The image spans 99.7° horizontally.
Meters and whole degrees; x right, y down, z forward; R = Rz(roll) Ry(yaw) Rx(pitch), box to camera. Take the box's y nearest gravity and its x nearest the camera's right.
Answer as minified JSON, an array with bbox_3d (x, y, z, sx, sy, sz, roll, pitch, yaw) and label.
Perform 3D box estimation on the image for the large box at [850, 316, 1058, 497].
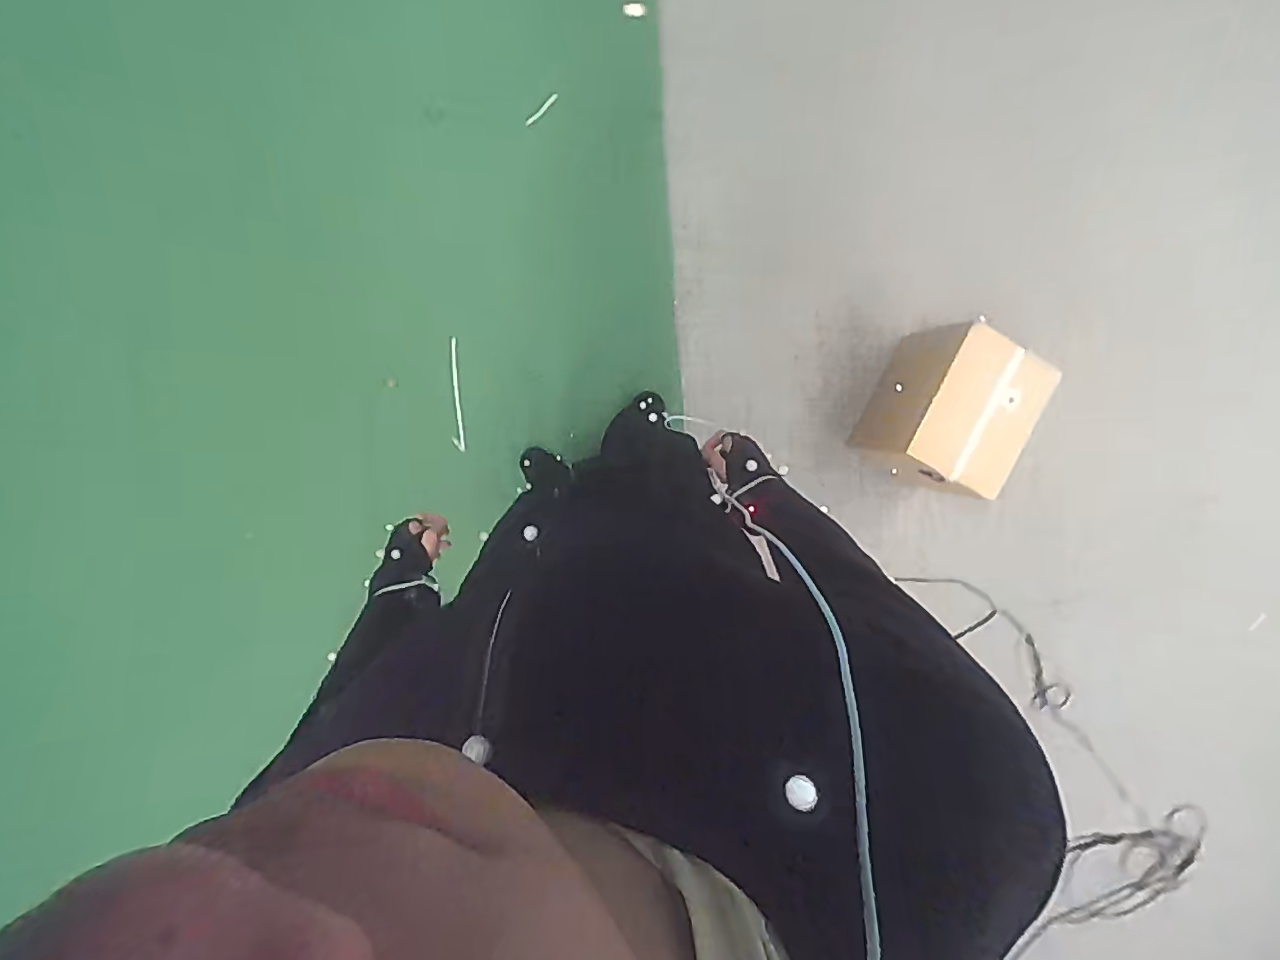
[{"bbox_3d":[0.902,-0.205,1.601,0.320,0.320,0.408,26,91,-10],"label":"large box"}]
